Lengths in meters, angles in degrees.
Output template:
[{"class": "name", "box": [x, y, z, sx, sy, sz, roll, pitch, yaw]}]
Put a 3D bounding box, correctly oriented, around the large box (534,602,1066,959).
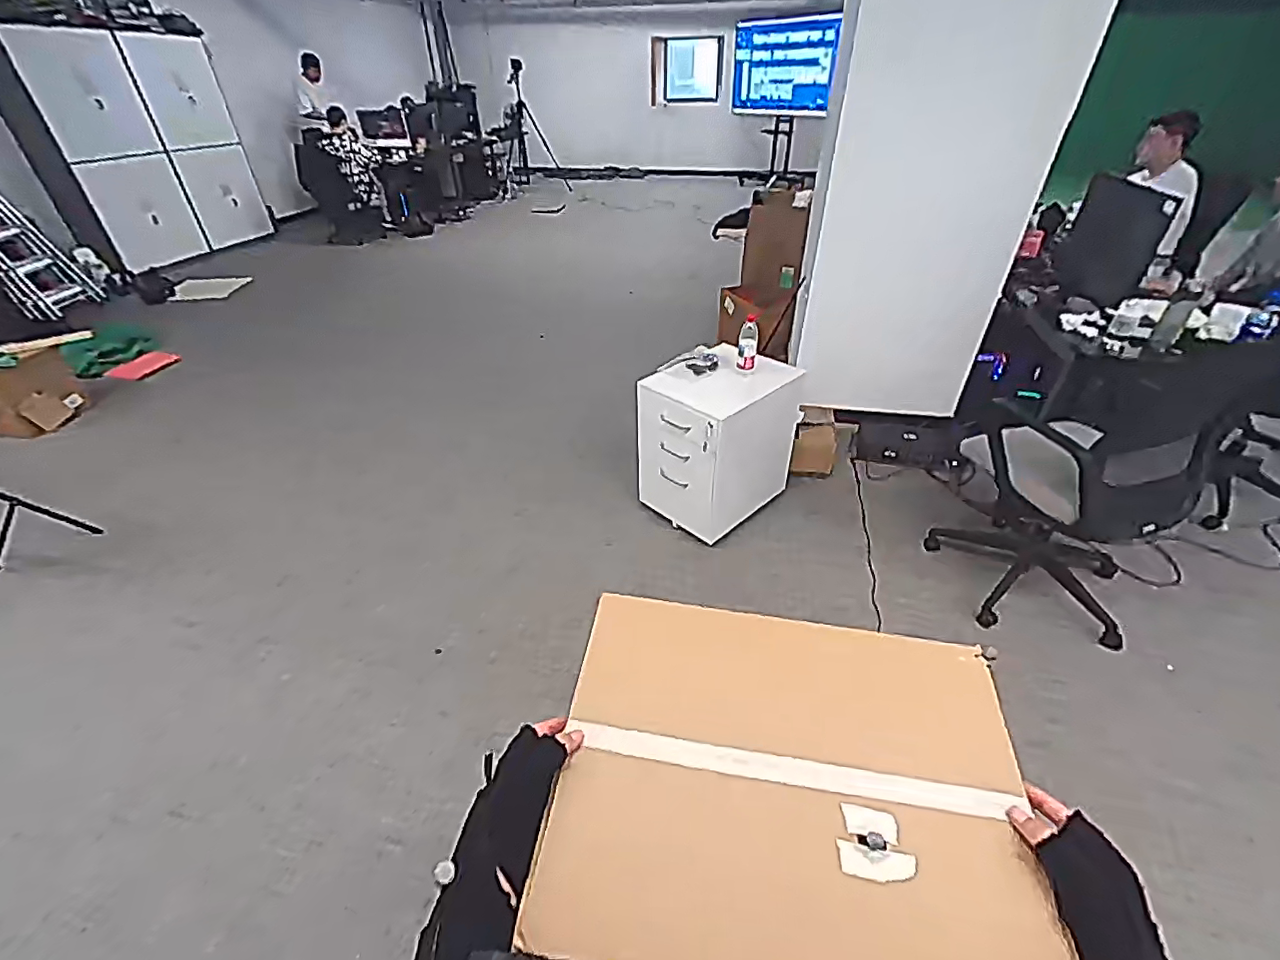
[{"class": "large box", "box": [0.133, 0.371, 0.595, 0.408, 0.320, 0.320, 7, 45, 6]}]
